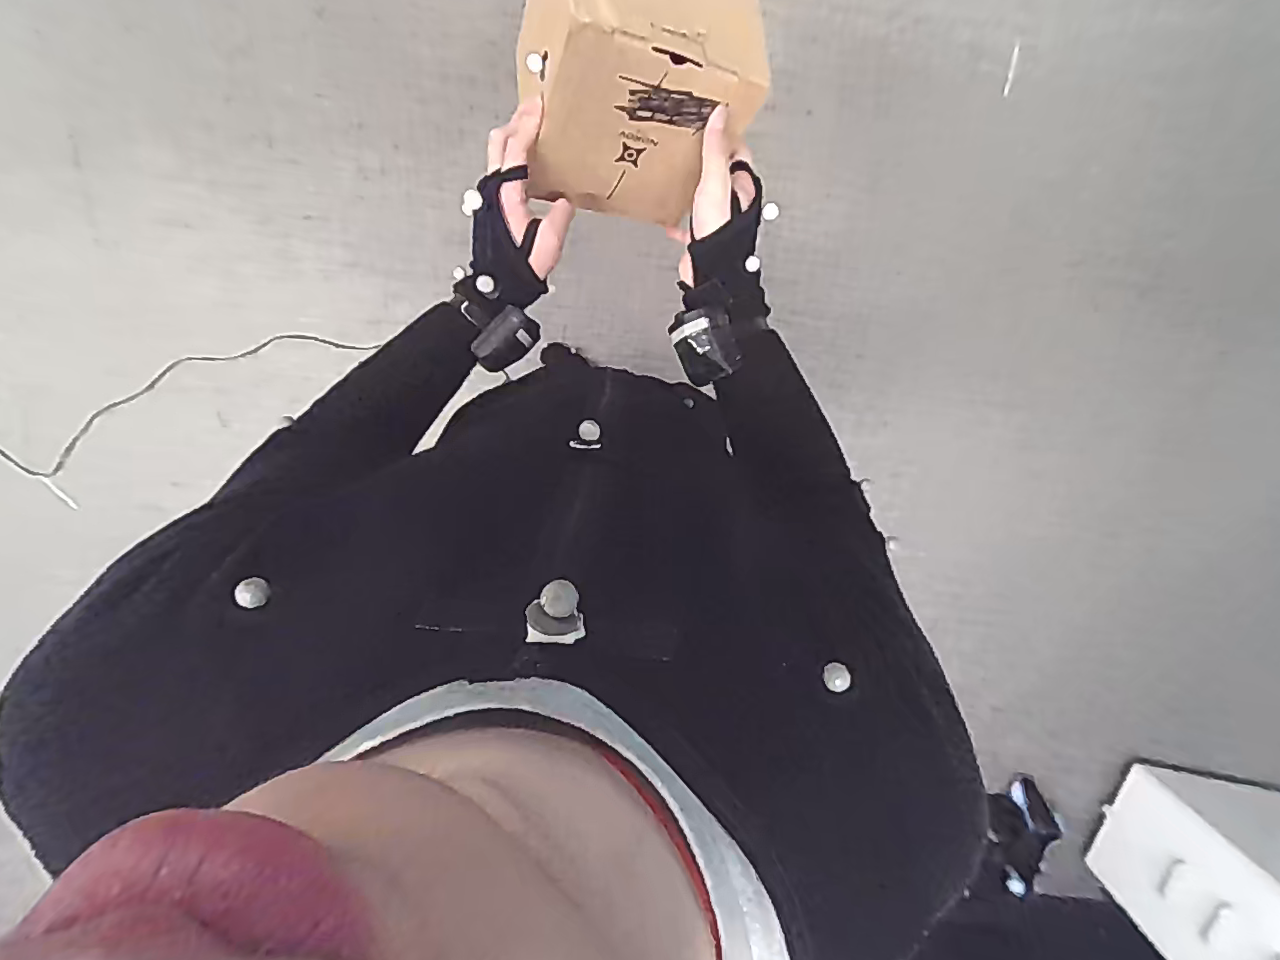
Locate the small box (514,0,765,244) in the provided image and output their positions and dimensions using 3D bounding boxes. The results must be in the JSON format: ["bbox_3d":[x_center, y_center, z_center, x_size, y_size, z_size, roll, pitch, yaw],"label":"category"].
[{"bbox_3d":[-0.016,-0.347,0.478,0.168,0.179,0.176,1,78,-23],"label":"small box"}]
